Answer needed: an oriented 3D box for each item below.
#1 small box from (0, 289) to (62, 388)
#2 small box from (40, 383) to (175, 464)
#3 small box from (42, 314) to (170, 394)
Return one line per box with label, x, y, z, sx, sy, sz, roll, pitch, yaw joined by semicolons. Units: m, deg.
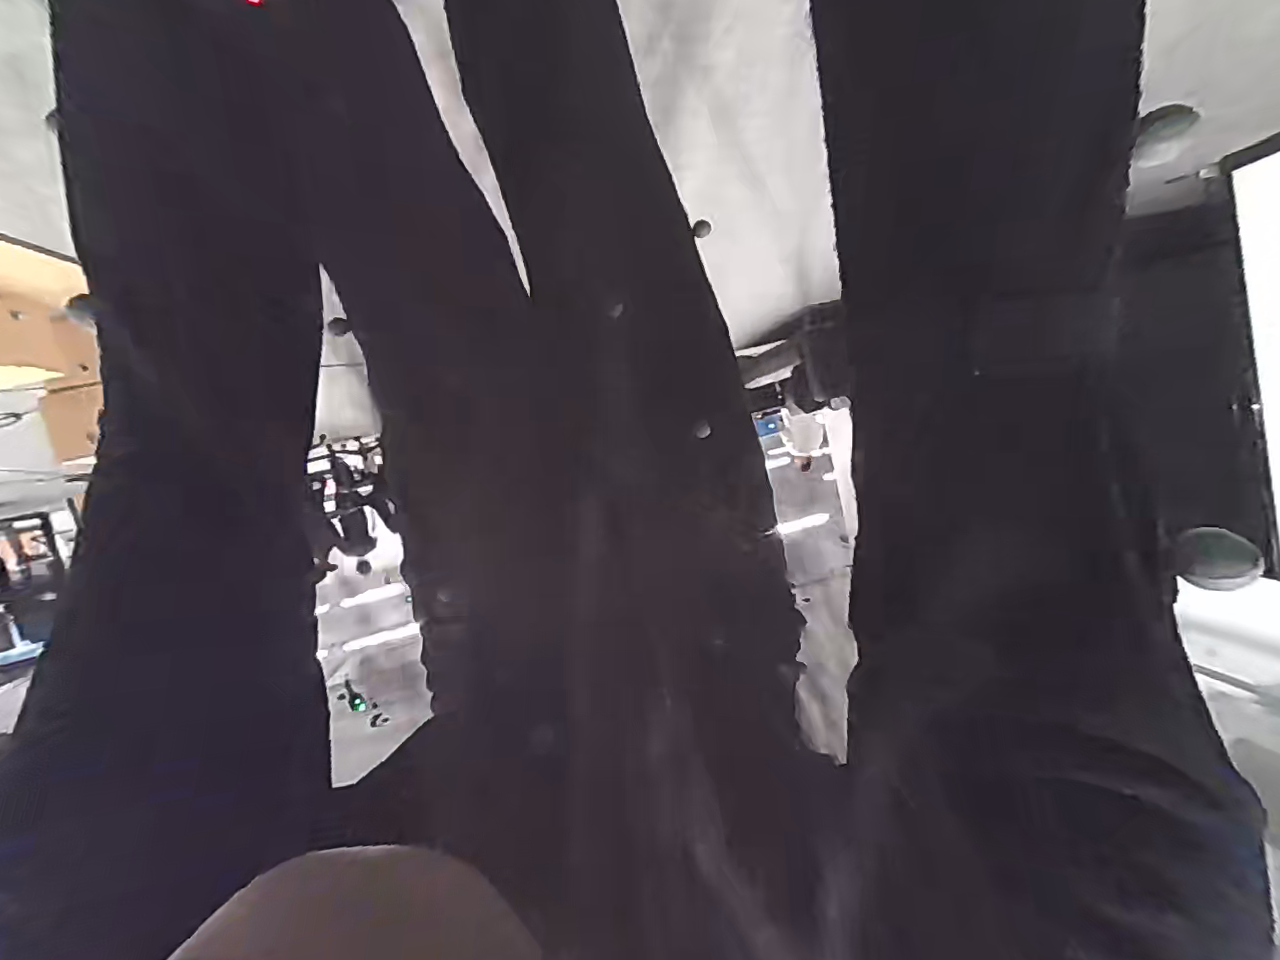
small box;-1.346;-0.284;1.081;0.179;0.176;0.168;-15;-173;-9
small box;-1.347;-0.143;1.368;0.179;0.176;0.168;-14;-175;-5
small box;-1.357;-0.307;1.359;0.179;0.176;0.168;-13;-174;-2
